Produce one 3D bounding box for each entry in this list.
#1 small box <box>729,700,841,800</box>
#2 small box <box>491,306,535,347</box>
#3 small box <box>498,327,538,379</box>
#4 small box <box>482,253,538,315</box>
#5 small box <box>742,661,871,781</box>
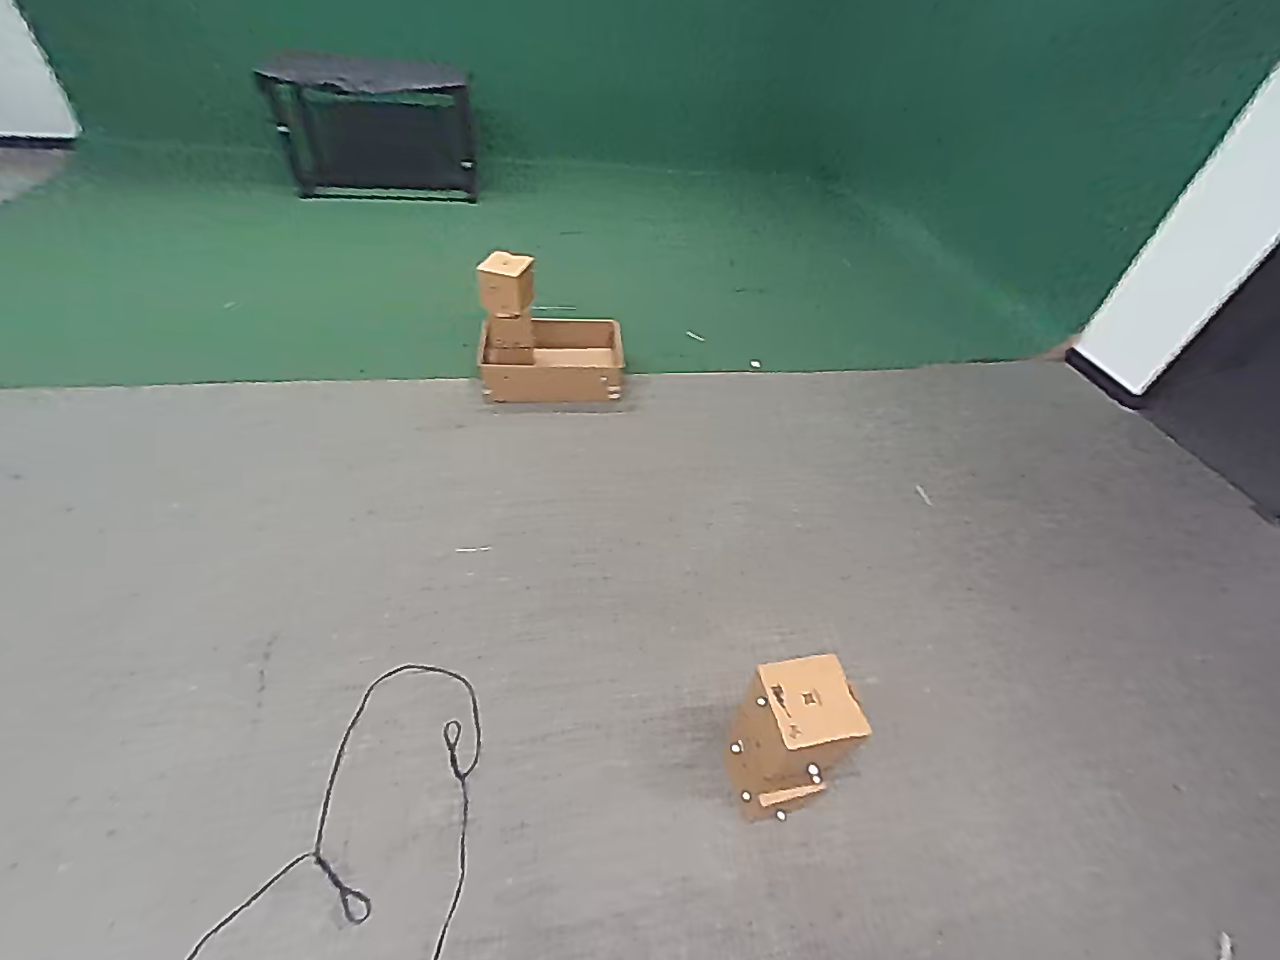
[{"bbox_3d":[0.319,0.603,1.225,0.179,0.176,0.168,-5,45,-10],"label":"small box"},{"bbox_3d":[-0.538,-0.683,2.310,0.168,0.176,0.179,-1,45,-10],"label":"small box"},{"bbox_3d":[-0.549,-0.576,2.435,0.168,0.176,0.179,-3,47,-10],"label":"small box"},{"bbox_3d":[-0.519,-0.791,2.189,0.168,0.176,0.179,14,45,6],"label":"small box"},{"bbox_3d":[0.328,0.493,1.104,0.179,0.176,0.168,-3,45,-11],"label":"small box"}]
